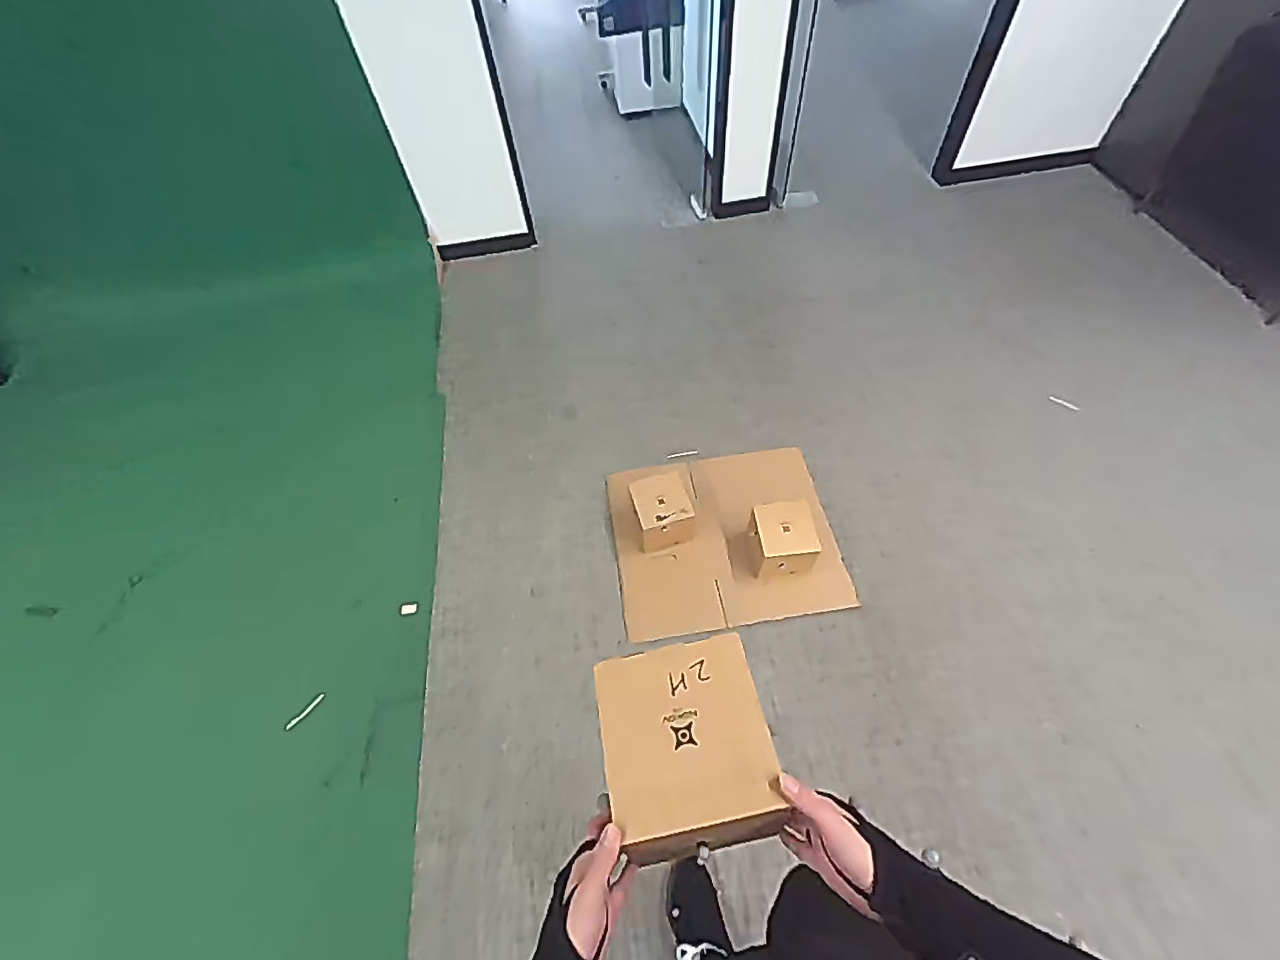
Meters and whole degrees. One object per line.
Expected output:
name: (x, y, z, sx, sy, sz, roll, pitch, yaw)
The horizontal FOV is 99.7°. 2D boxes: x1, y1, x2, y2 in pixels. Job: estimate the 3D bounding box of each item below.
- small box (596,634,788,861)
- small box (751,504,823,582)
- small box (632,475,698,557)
small box: (0.053, 0.299, 0.595, 0.168, 0.176, 0.179, -11, 47, -1)
small box: (0.436, 0.196, 1.629, 0.168, 0.176, 0.179, -6, 55, 1)
small box: (0.075, 0.117, 1.711, 0.168, 0.176, 0.179, -15, 56, -6)
